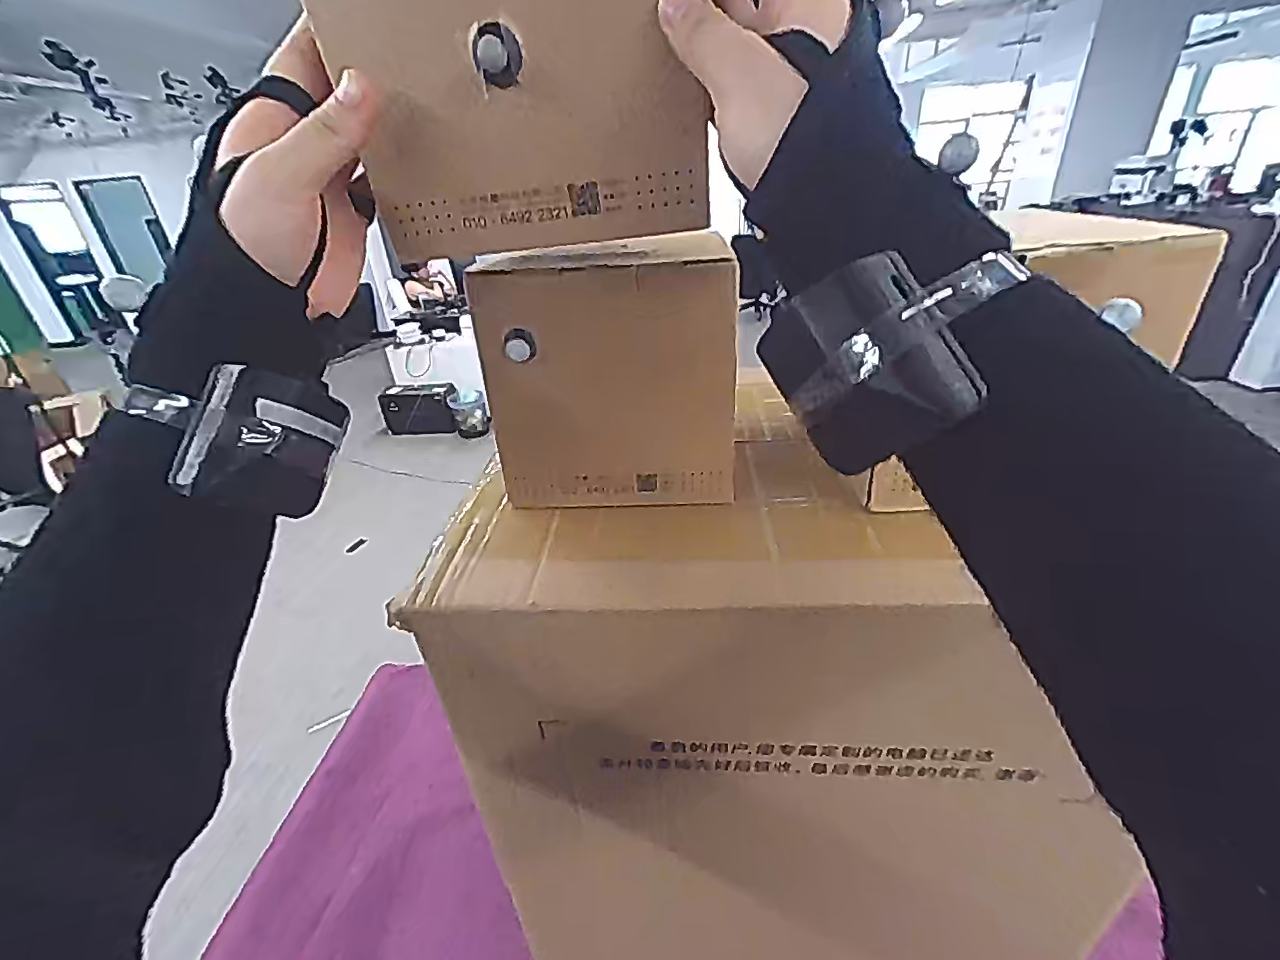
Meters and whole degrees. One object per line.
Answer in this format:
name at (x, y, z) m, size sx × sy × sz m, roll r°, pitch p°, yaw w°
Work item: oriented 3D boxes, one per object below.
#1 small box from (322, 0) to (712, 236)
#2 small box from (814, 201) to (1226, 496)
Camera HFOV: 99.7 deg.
small box at (-0.050, -0.241, 0.297) m, size 0.168 × 0.176 × 0.179 m, roll -4°, pitch 36°, yaw 5°
small box at (0.235, -0.103, 0.399) m, size 0.168 × 0.176 × 0.179 m, roll -3°, pitch 30°, yaw 4°
